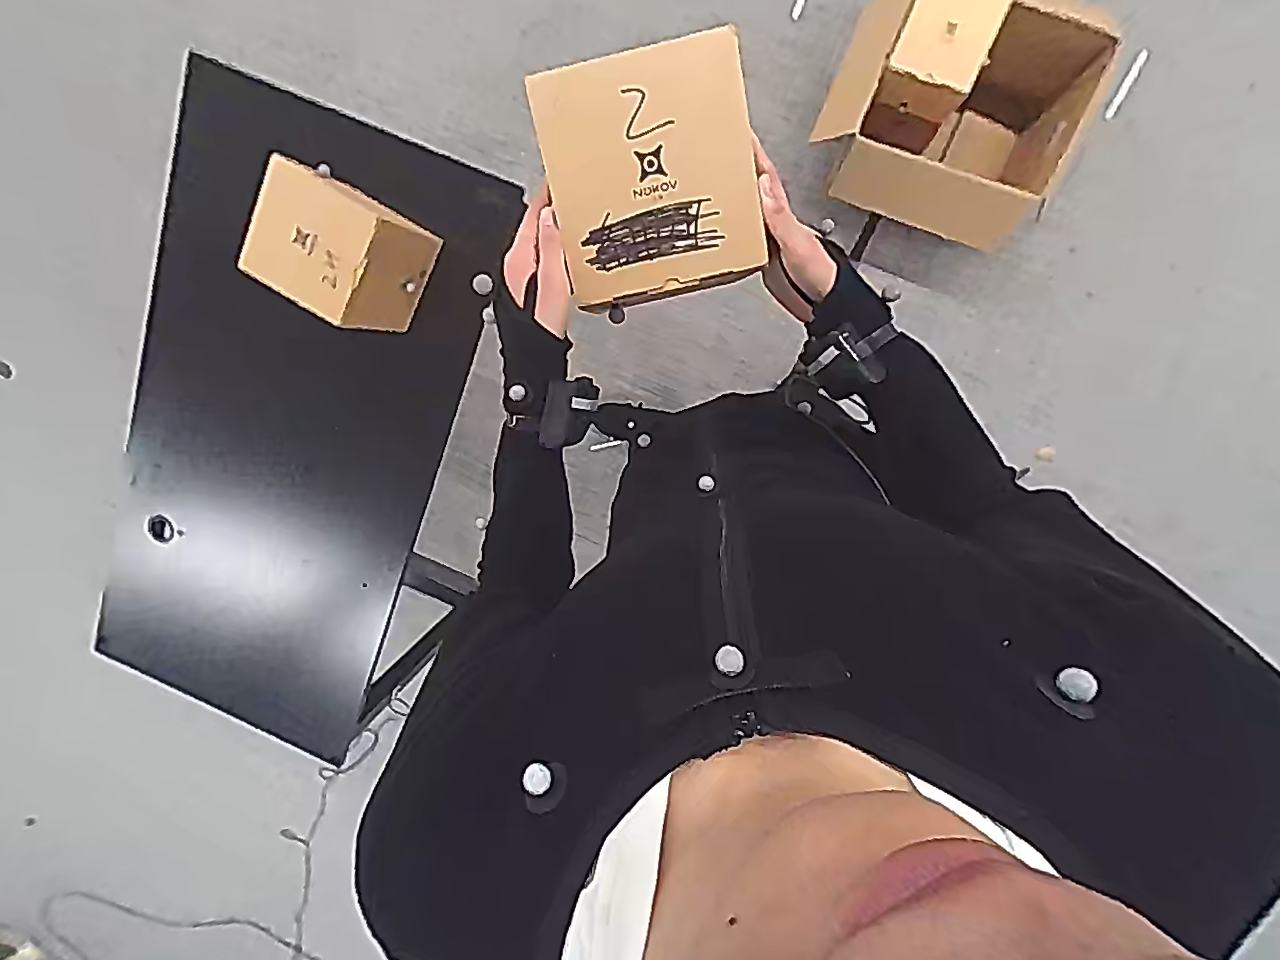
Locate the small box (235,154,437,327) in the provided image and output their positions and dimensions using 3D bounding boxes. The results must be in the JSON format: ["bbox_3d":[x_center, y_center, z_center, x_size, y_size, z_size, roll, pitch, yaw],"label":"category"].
[{"bbox_3d":[-0.448,-0.343,0.818,0.179,0.176,0.168,31,106,1],"label":"small box"}]
